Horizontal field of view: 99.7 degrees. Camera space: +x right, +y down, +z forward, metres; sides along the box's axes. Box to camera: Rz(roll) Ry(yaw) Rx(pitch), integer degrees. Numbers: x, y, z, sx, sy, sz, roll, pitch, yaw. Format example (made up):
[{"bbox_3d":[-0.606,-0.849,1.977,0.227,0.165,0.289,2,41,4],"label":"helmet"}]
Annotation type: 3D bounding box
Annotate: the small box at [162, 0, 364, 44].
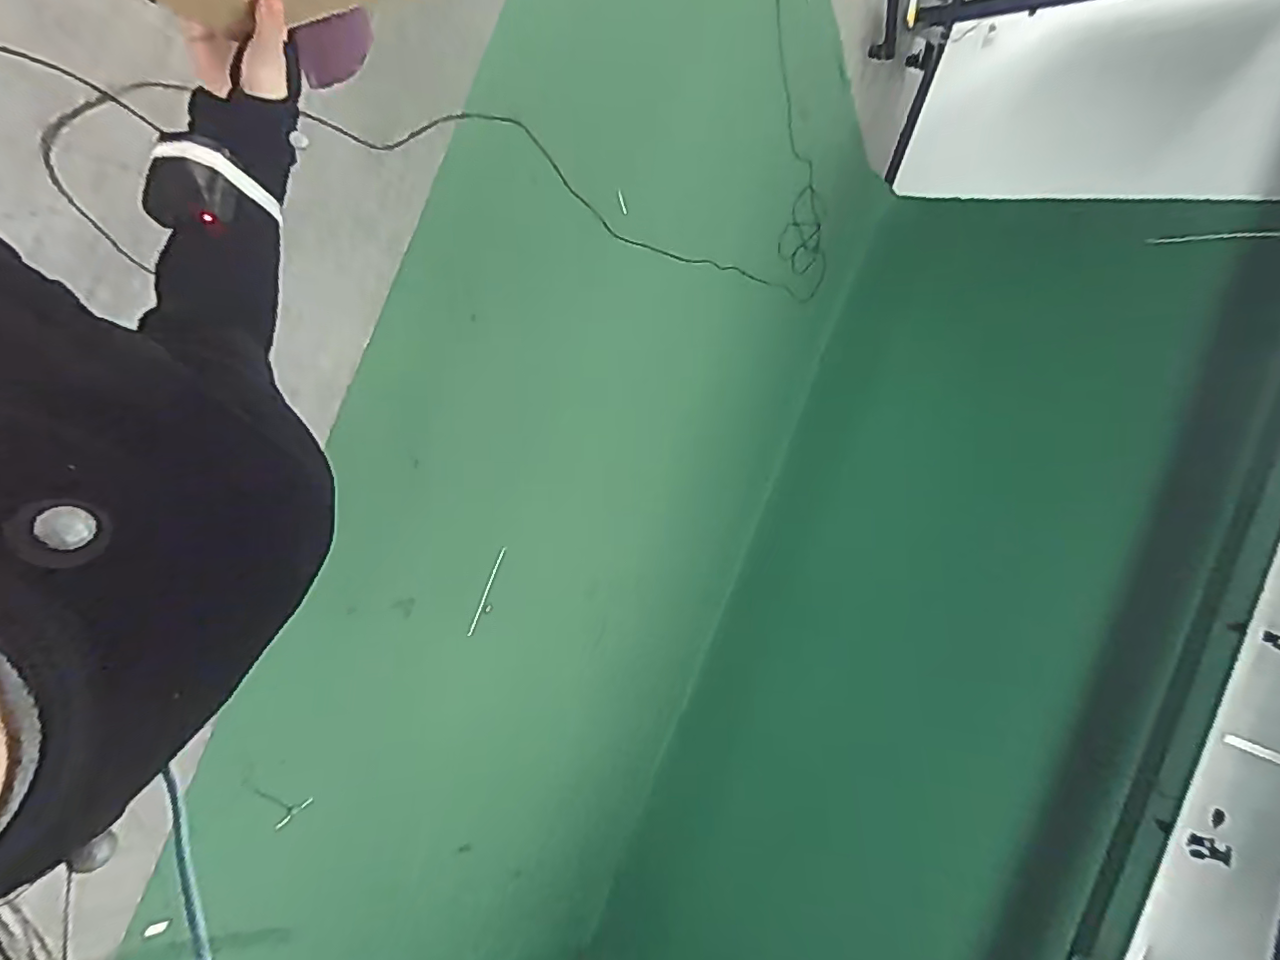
[{"bbox_3d":[-0.256,-0.408,0.316,0.168,0.179,0.176,-18,114,1],"label":"small box"}]
